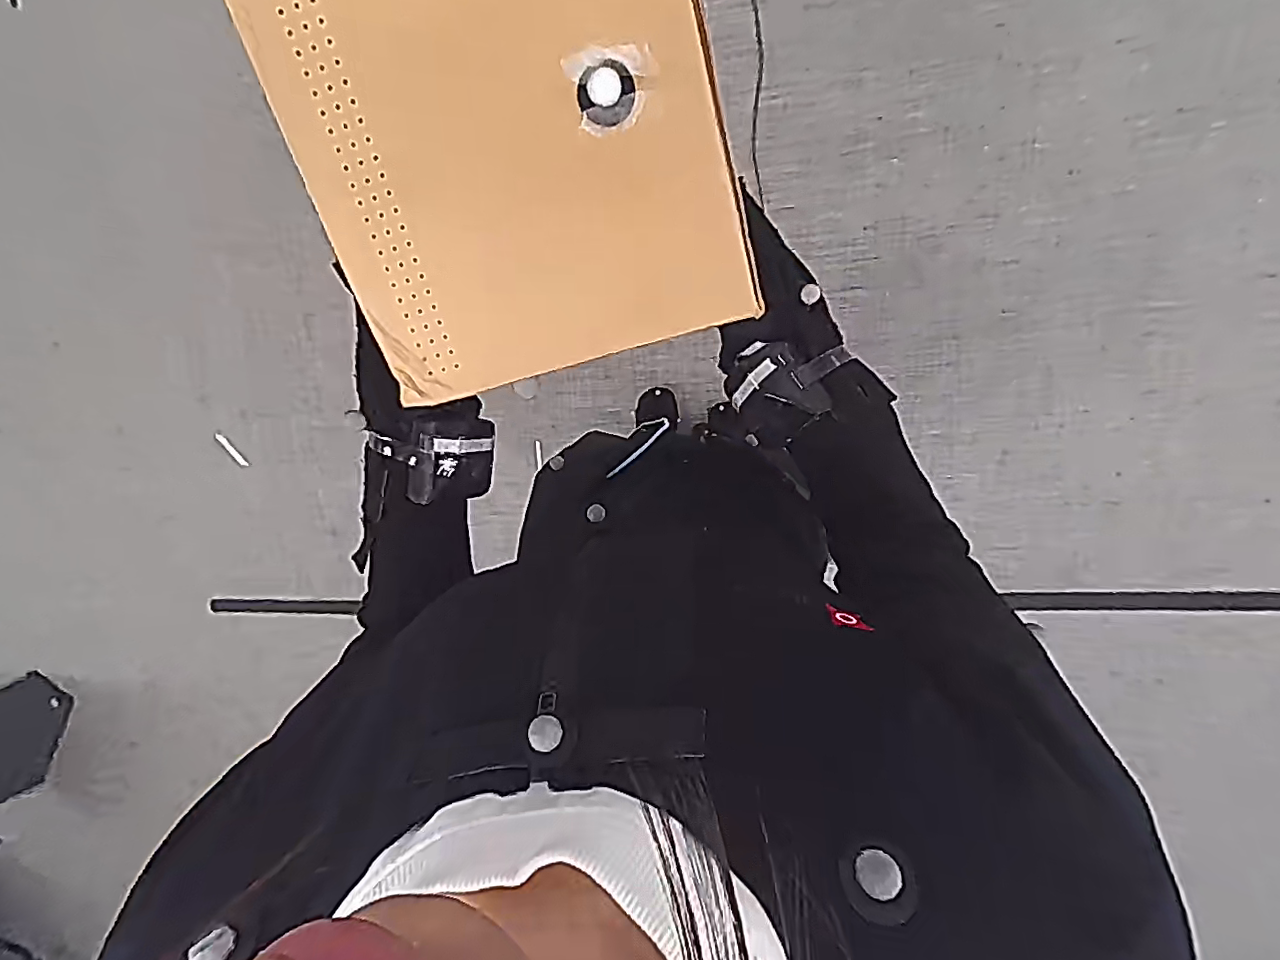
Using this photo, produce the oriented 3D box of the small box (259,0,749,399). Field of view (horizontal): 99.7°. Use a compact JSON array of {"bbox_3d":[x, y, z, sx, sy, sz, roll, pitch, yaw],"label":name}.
[{"bbox_3d":[-0.052,-0.161,0.294,0.176,0.168,0.179,-13,109,8],"label":"small box"}]
